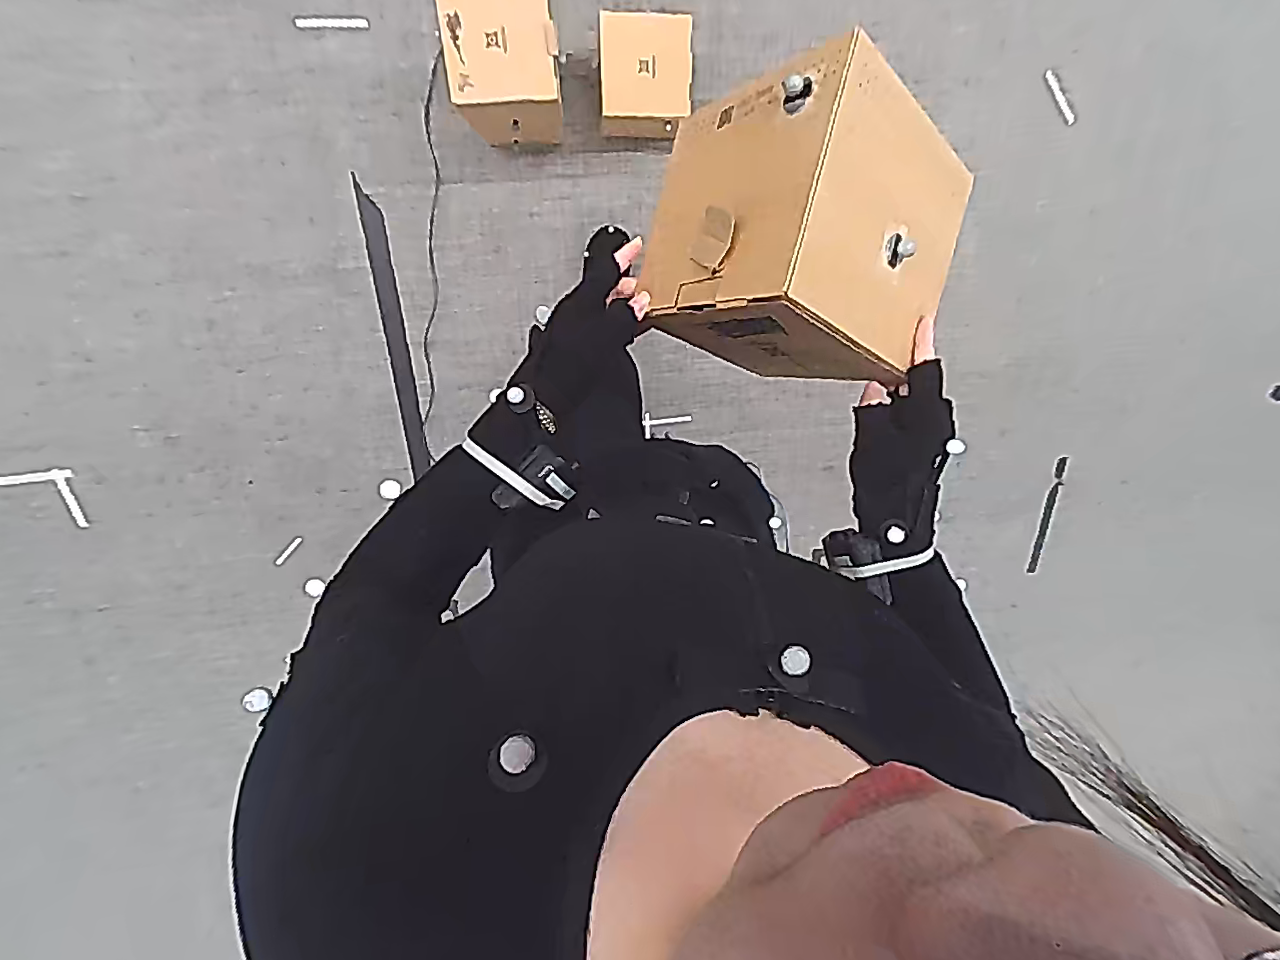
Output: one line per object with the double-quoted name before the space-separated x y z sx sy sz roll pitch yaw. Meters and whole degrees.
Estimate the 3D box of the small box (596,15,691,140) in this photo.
"small box" 0.000 -0.806 1.099 0.179 0.176 0.168 -3 111 -7

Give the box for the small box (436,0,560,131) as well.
"small box" -0.232 -0.715 0.928 0.179 0.176 0.168 -5 111 -4

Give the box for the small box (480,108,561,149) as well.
"small box" -0.248 -0.779 1.079 0.168 0.176 0.179 -4 112 -4

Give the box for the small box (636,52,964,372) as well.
"small box" 0.128 -0.195 0.438 0.179 0.168 0.176 14 92 -37
